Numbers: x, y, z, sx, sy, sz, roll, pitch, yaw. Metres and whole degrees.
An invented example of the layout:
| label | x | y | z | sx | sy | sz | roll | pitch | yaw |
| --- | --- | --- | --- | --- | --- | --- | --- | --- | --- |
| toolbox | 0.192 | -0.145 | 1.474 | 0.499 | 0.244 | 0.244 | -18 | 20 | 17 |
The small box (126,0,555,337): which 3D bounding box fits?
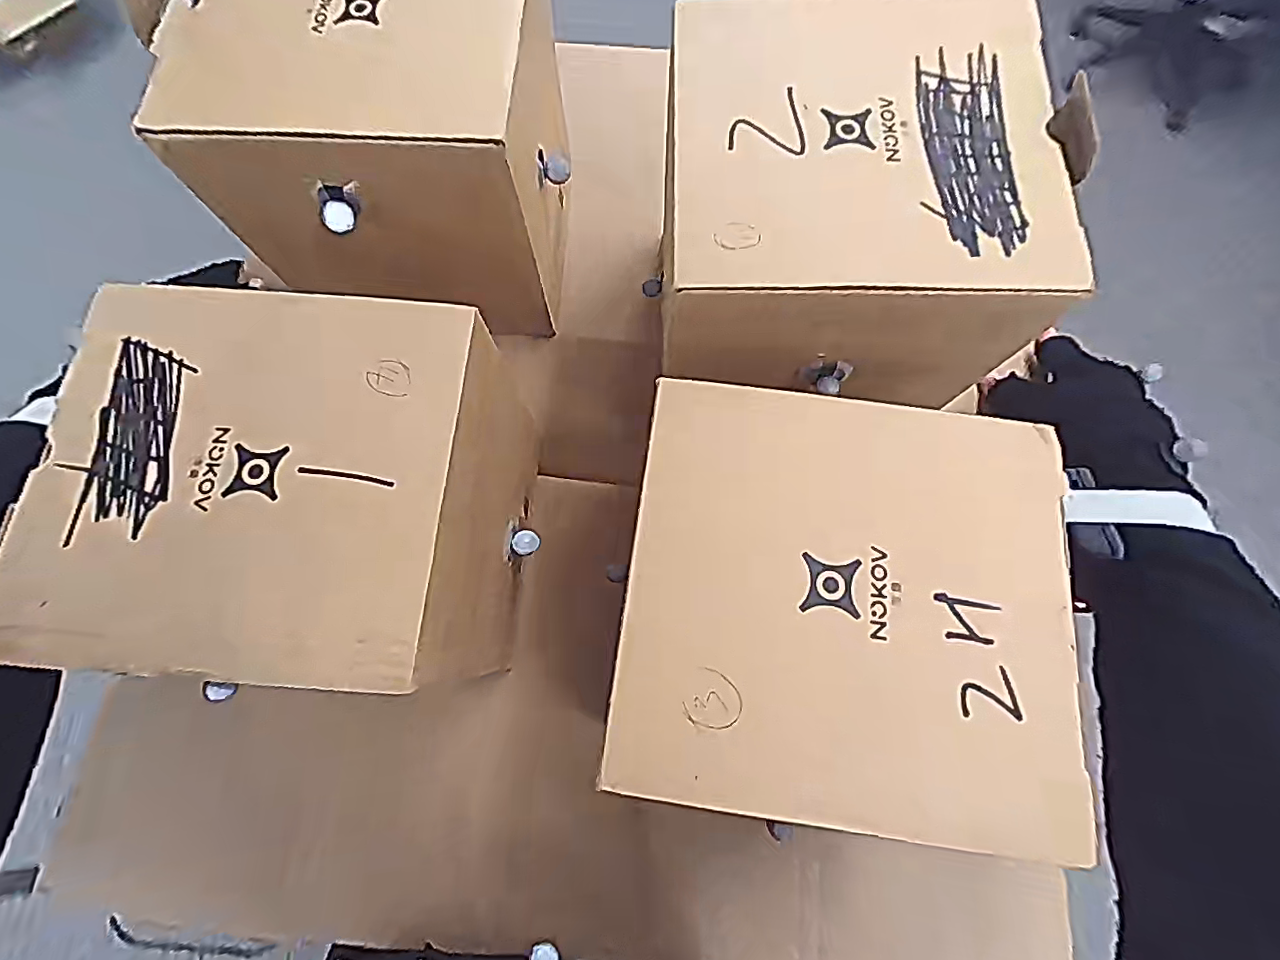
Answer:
| label | x | y | z | sx | sy | sz | roll | pitch | yaw |
| --- | --- | --- | --- | --- | --- | --- | --- | --- | --- |
| small box | -0.156 | -0.208 | 0.354 | 0.179 | 0.176 | 0.168 | 1 | 74 | 1 |
